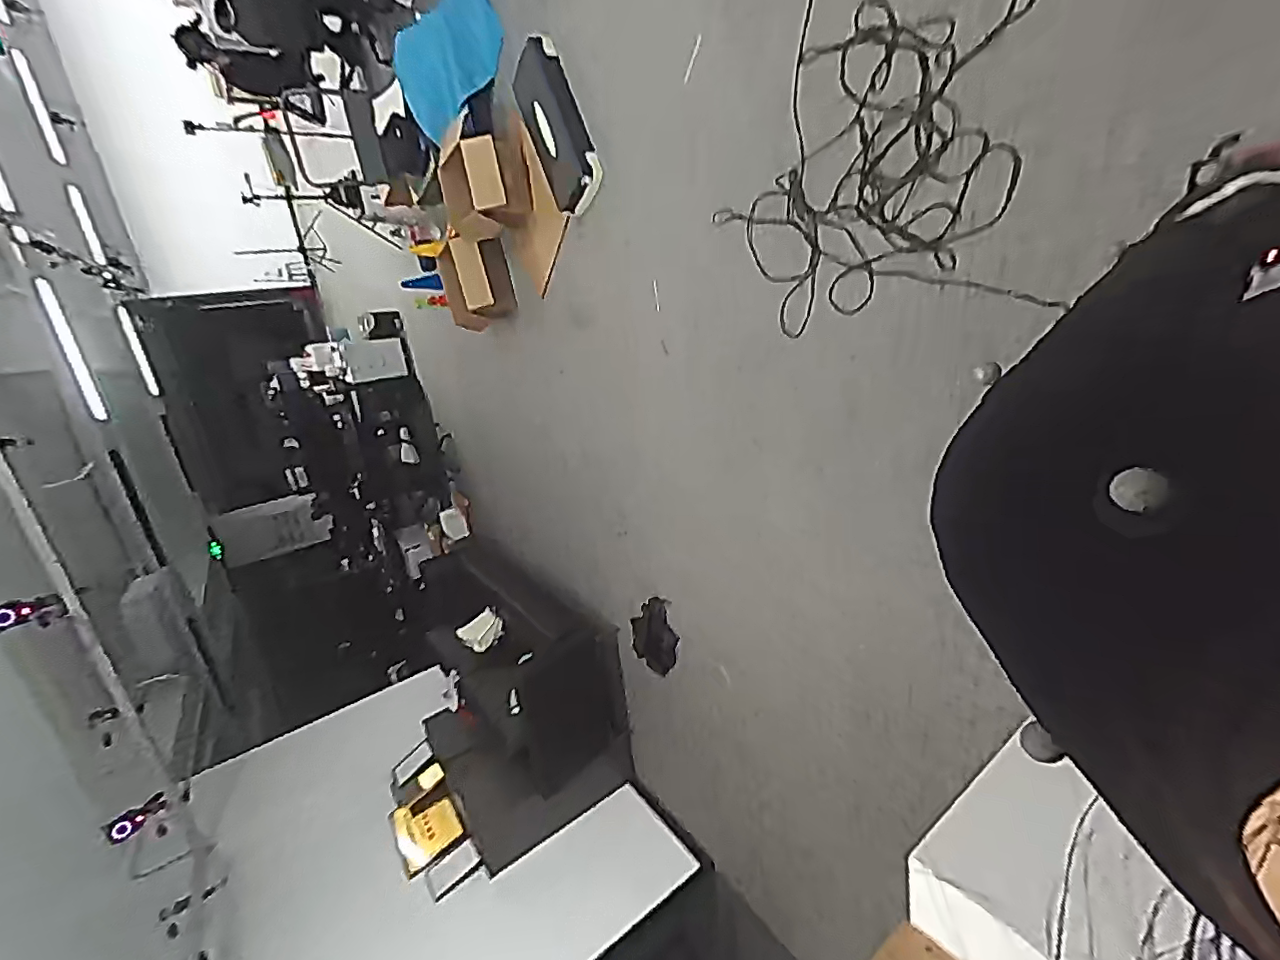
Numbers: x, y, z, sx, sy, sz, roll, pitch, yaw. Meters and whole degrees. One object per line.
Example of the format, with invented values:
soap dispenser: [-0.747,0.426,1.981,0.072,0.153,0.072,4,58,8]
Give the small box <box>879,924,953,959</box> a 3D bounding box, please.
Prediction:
small box: [0.555,1.033,1.051,0.168,0.176,0.179,17,121,54]
